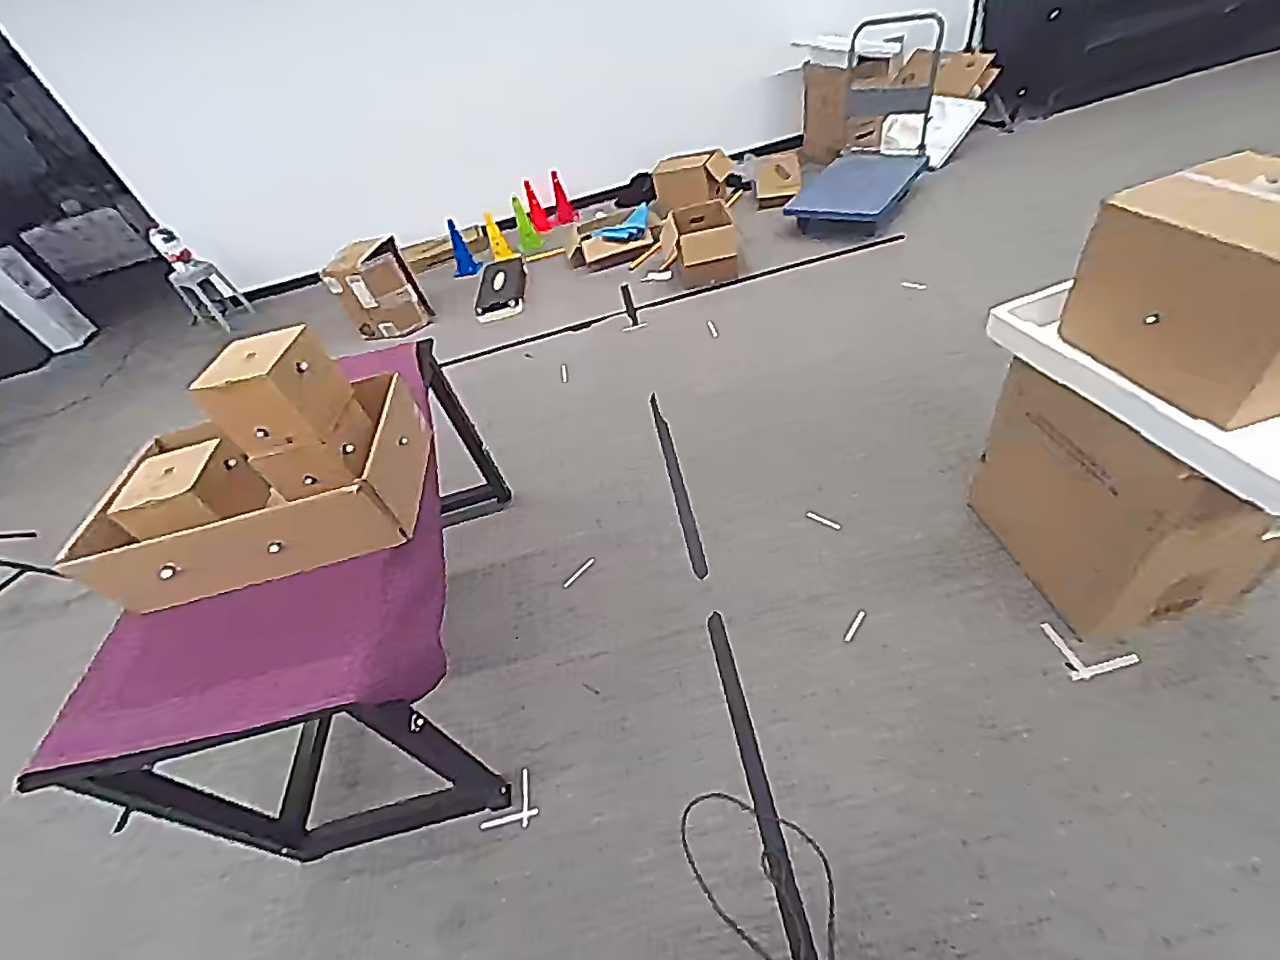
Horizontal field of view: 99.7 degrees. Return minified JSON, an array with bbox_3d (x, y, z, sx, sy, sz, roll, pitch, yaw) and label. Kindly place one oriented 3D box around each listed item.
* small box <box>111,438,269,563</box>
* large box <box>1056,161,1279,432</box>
[{"bbox_3d":[-0.934,0.044,1.147,0.168,0.176,0.179,-16,43,-1],"label":"small box"},{"bbox_3d":[1.128,-0.357,1.028,0.320,0.320,0.408,-17,42,-2],"label":"large box"}]
